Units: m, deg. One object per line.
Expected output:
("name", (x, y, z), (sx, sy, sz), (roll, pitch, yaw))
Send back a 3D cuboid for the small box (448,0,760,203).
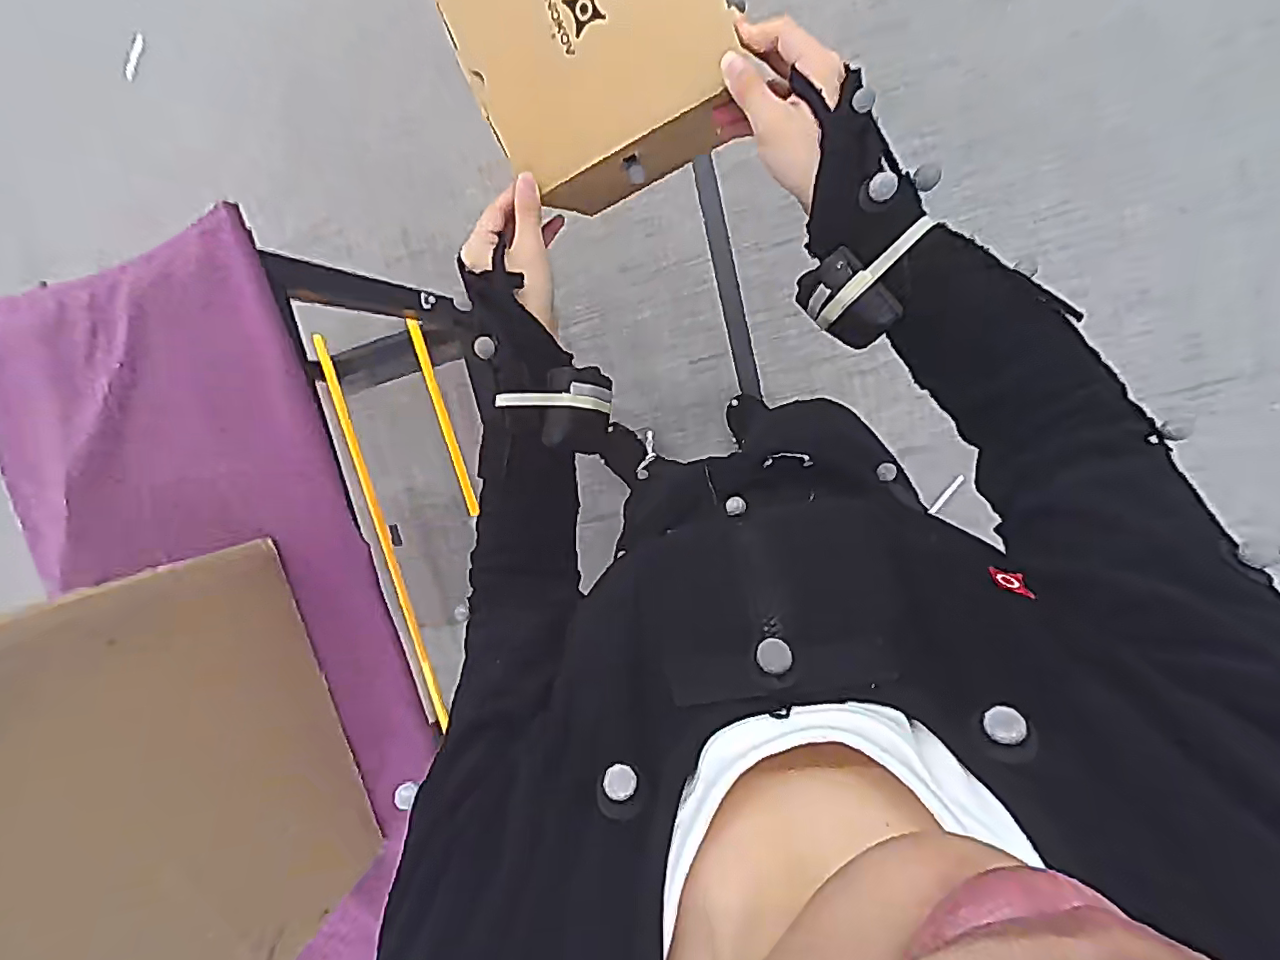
("small box", (-0.017, -0.338, 0.418), (0.179, 0.176, 0.168), (-18, 107, 20))
